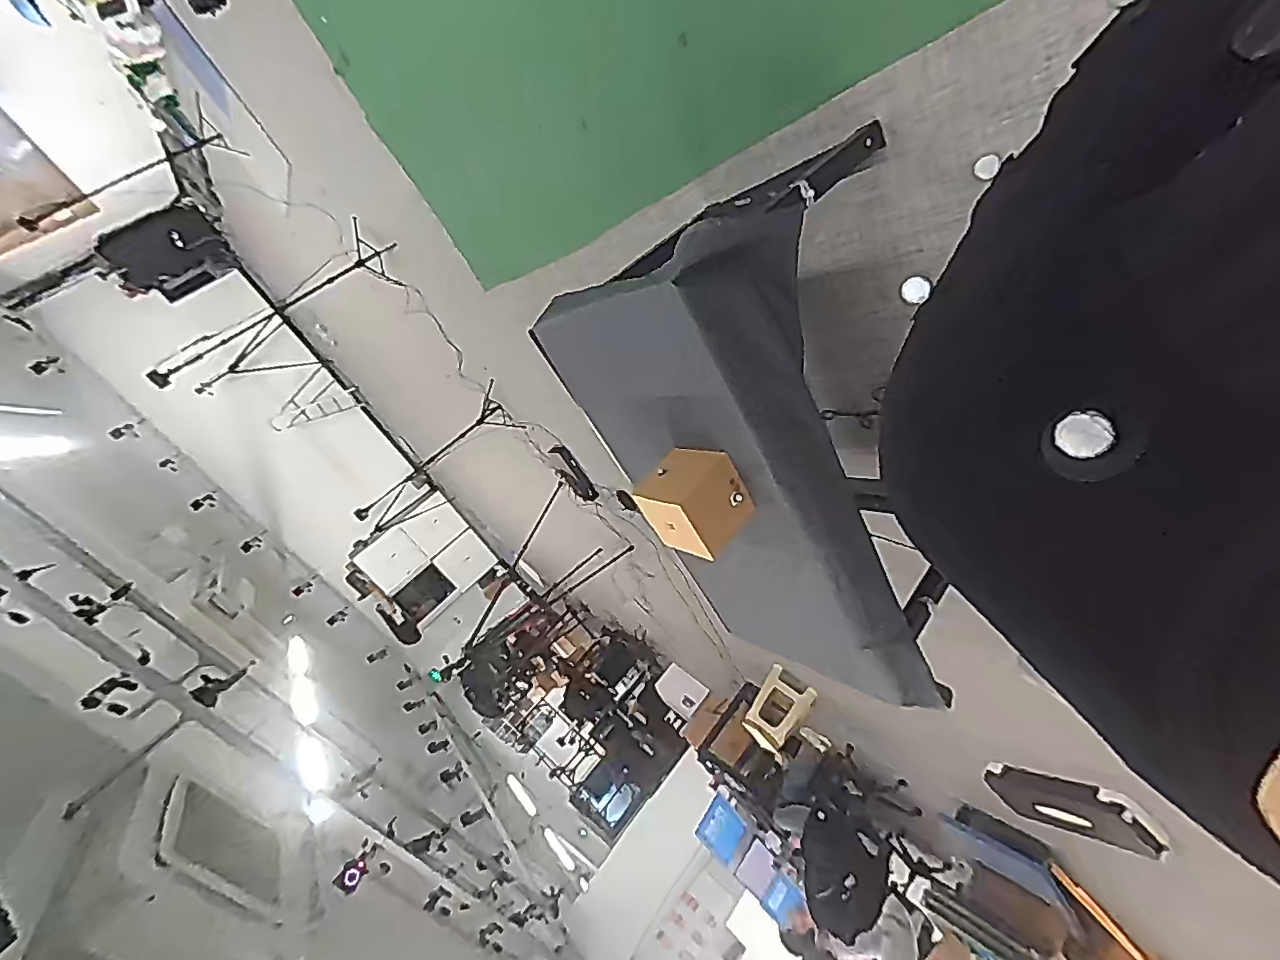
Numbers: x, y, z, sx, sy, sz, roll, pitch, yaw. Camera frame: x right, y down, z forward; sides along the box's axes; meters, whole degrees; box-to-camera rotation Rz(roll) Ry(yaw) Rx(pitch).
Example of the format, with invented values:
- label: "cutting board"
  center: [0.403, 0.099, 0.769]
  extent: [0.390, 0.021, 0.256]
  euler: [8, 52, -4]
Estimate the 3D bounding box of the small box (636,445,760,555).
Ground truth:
- label: "small box"
  center: [0.131, 0.037, 1.199]
  extent: [0.179, 0.176, 0.168]
  euler: [9, 140, 54]
